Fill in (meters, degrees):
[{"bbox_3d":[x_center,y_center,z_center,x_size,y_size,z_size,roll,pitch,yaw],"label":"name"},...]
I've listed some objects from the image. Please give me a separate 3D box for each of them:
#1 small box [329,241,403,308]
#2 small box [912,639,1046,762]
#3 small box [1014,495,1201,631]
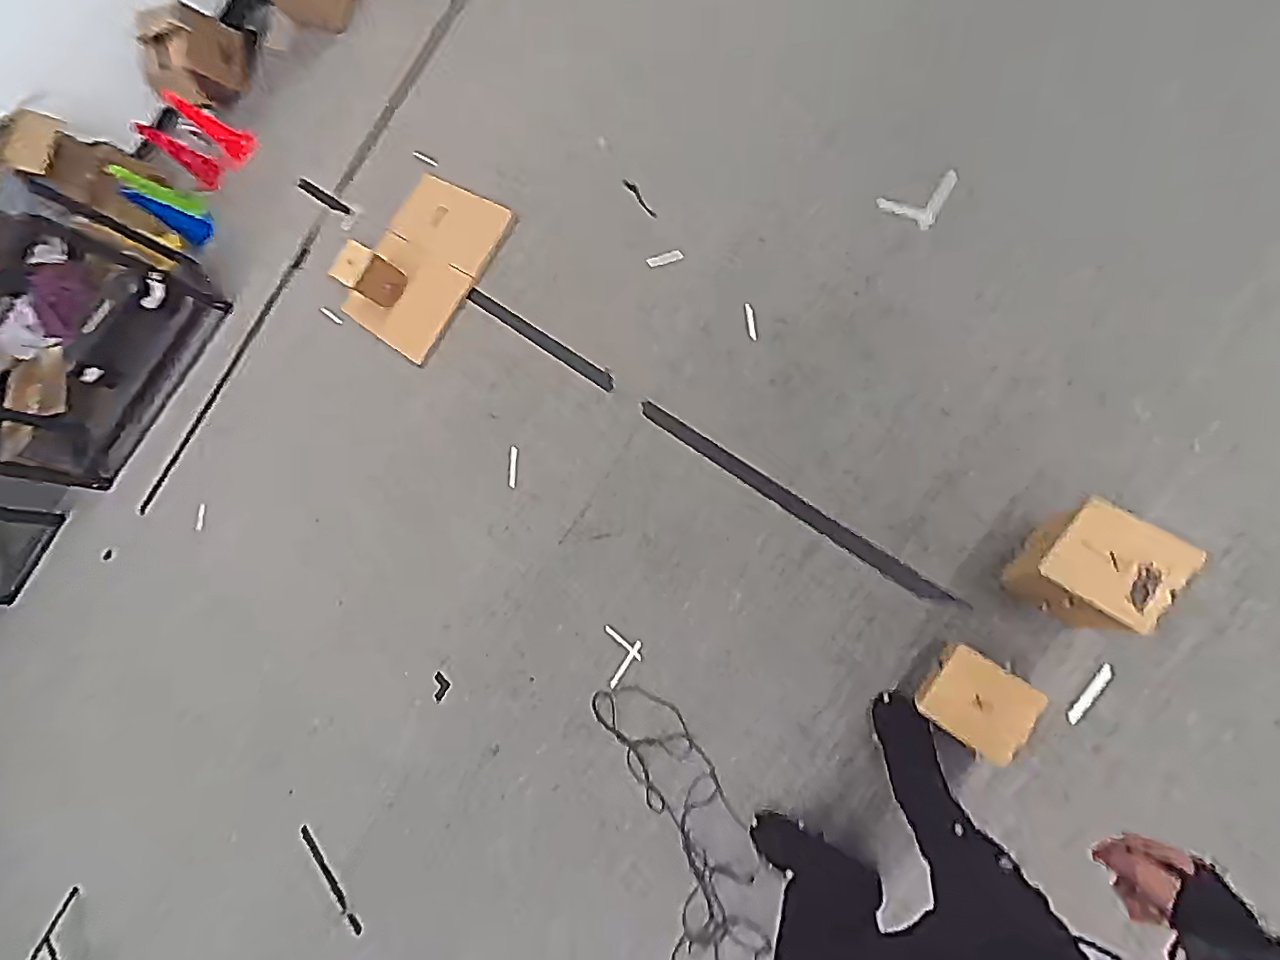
[{"bbox_3d":[-1.107,-0.827,2.190,0.179,0.176,0.168,33,93,25],"label":"small box"},{"bbox_3d":[0.709,0.459,1.156,0.179,0.176,0.168,32,92,25],"label":"small box"},{"bbox_3d":[0.835,0.153,0.990,0.179,0.176,0.168,37,93,26],"label":"small box"}]
